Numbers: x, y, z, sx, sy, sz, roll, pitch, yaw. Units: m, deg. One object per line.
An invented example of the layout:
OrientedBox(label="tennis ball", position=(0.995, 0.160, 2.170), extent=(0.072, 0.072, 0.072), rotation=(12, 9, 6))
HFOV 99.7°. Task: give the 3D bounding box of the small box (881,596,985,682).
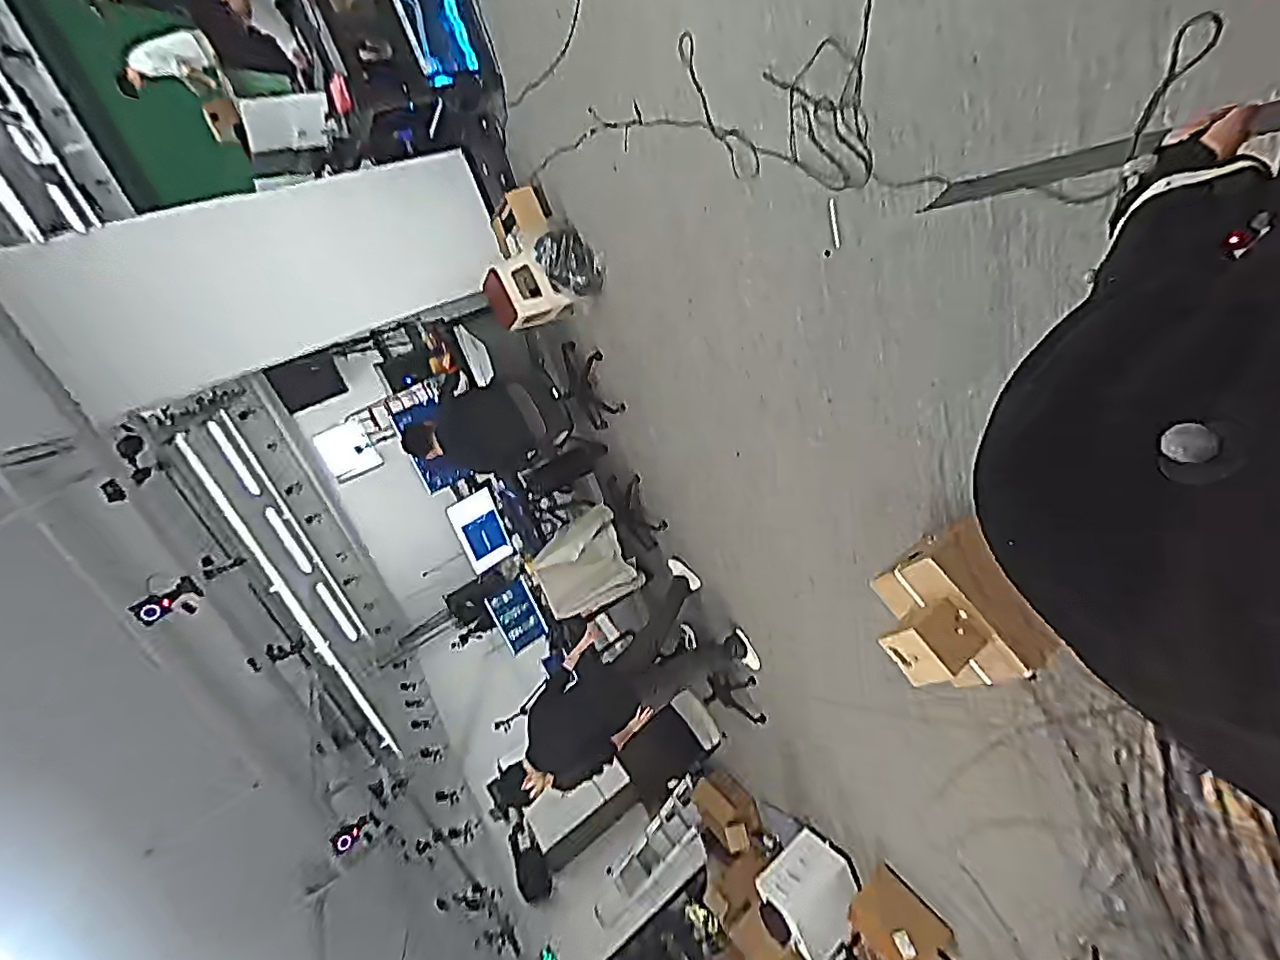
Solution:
OrientedBox(label="small box", position=(0.866, 0.470, 1.600), extent=(0.168, 0.176, 0.179), rotation=(53, 155, 16))
